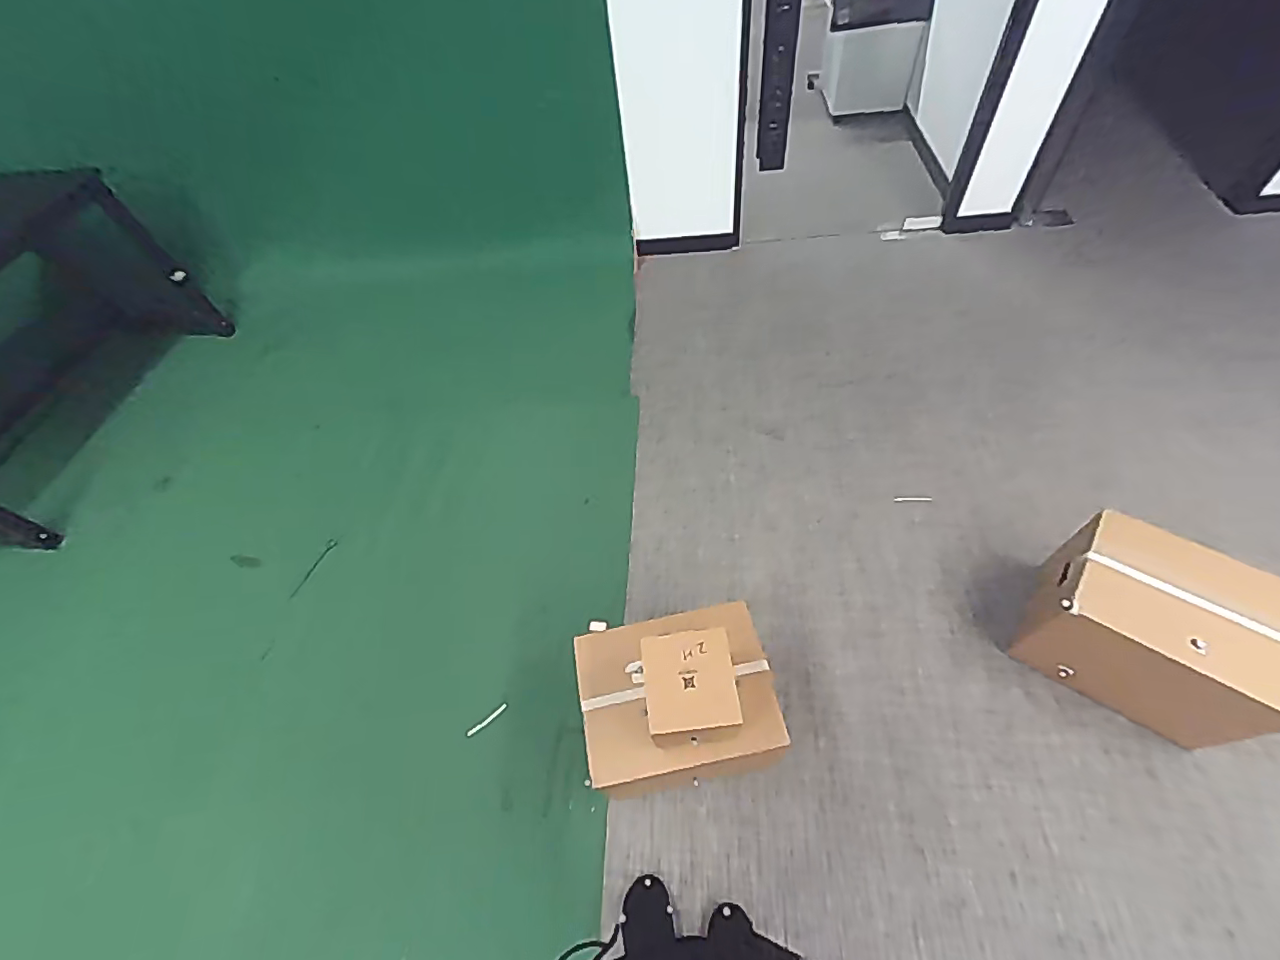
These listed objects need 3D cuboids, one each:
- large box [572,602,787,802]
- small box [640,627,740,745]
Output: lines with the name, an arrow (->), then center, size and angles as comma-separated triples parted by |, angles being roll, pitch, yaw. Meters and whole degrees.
large box -> 0.085, 0.524, 1.259 | 0.408, 0.320, 0.320 | -12, 53, -1
small box -> 0.093, 0.401, 1.041 | 0.168, 0.176, 0.179 | -6, 55, 0
